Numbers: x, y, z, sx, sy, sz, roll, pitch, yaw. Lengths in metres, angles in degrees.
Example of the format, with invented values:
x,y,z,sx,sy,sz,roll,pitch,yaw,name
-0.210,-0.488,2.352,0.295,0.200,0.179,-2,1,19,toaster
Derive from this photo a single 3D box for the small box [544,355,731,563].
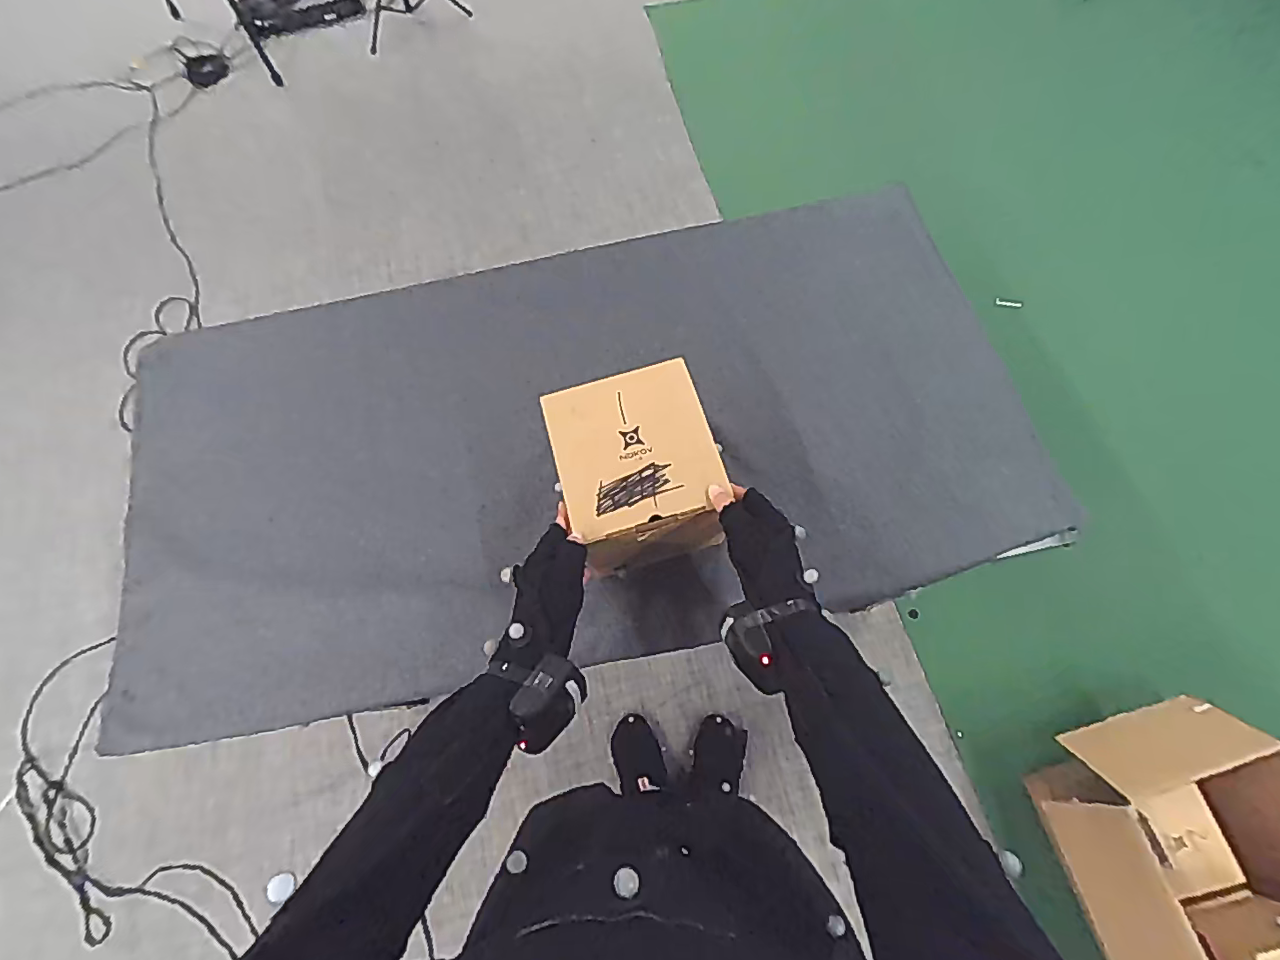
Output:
x,y,z,sx,sy,sz,roll,pitch,yaw,name
-0.001,-0.011,0.635,0.168,0.176,0.179,-15,68,-2,small box
